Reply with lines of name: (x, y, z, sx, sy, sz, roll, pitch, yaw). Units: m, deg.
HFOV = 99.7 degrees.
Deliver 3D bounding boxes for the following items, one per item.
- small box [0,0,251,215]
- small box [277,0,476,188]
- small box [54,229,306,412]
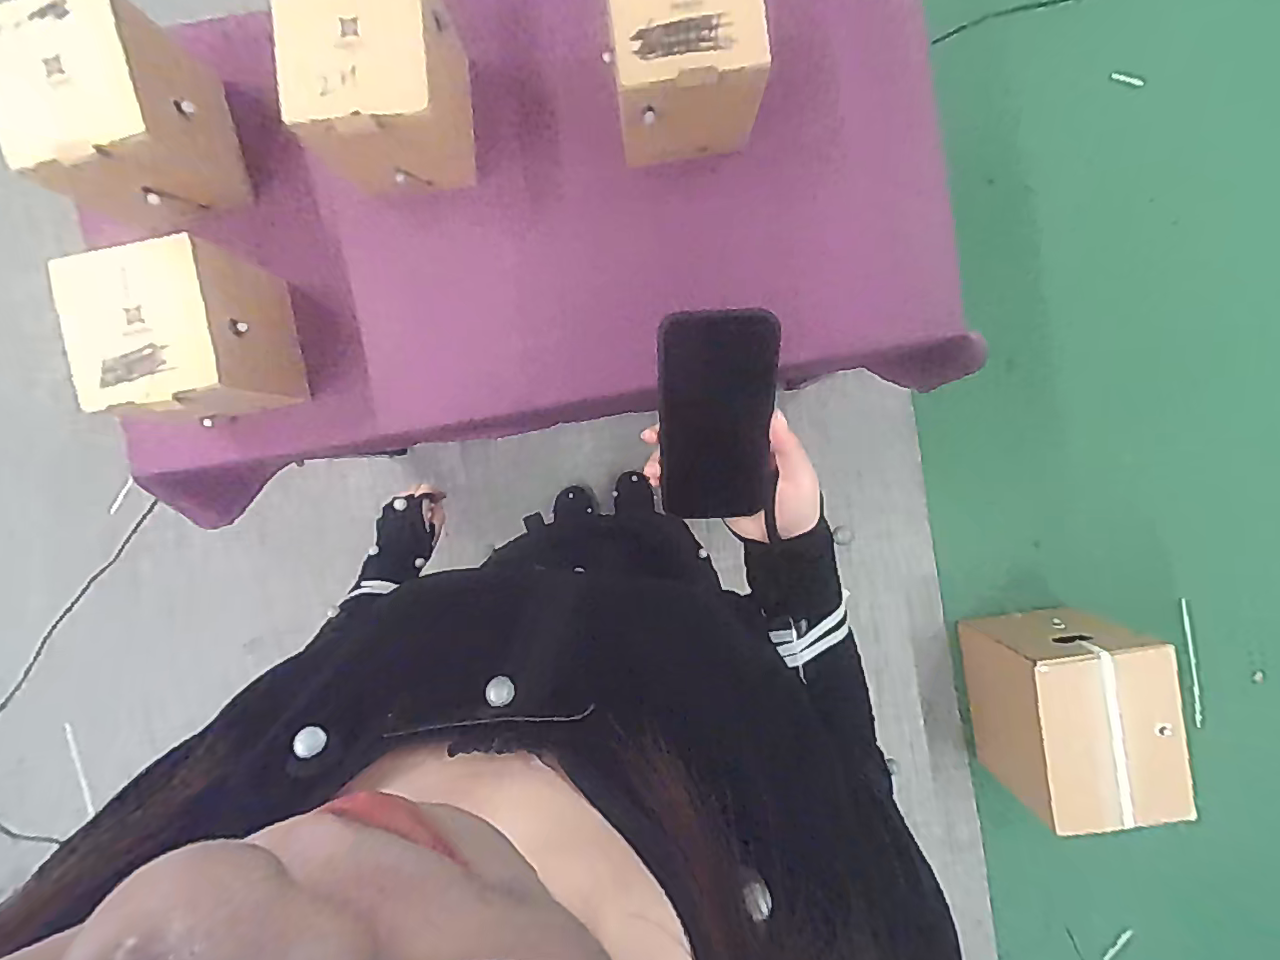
small box: (-0.635, -0.456, 0.676, 0.168, 0.176, 0.179, -14, 94, 1)
small box: (-0.311, -0.491, 0.667, 0.168, 0.176, 0.179, -2, 93, 2)
small box: (-0.563, -0.186, 0.689, 0.168, 0.176, 0.179, -10, 91, 1)
